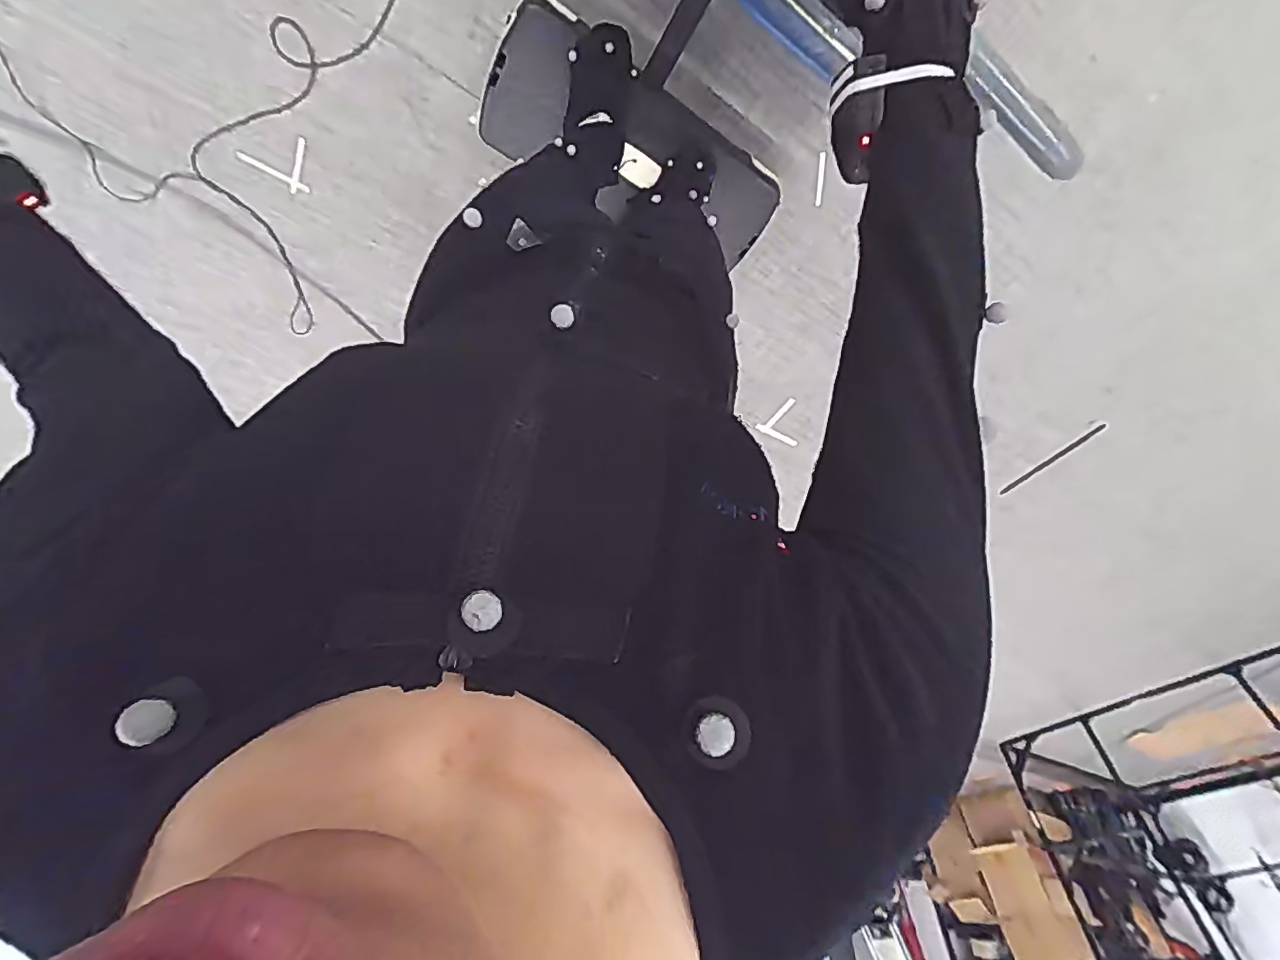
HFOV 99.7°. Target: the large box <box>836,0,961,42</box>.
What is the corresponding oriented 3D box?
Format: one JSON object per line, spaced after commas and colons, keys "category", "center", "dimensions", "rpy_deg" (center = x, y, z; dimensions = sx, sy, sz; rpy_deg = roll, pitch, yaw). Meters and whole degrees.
{"category": "large box", "center": [0.308, -0.880, 0.700], "dimensions": [0.408, 0.320, 0.320], "rpy_deg": [23, 131, -24]}
